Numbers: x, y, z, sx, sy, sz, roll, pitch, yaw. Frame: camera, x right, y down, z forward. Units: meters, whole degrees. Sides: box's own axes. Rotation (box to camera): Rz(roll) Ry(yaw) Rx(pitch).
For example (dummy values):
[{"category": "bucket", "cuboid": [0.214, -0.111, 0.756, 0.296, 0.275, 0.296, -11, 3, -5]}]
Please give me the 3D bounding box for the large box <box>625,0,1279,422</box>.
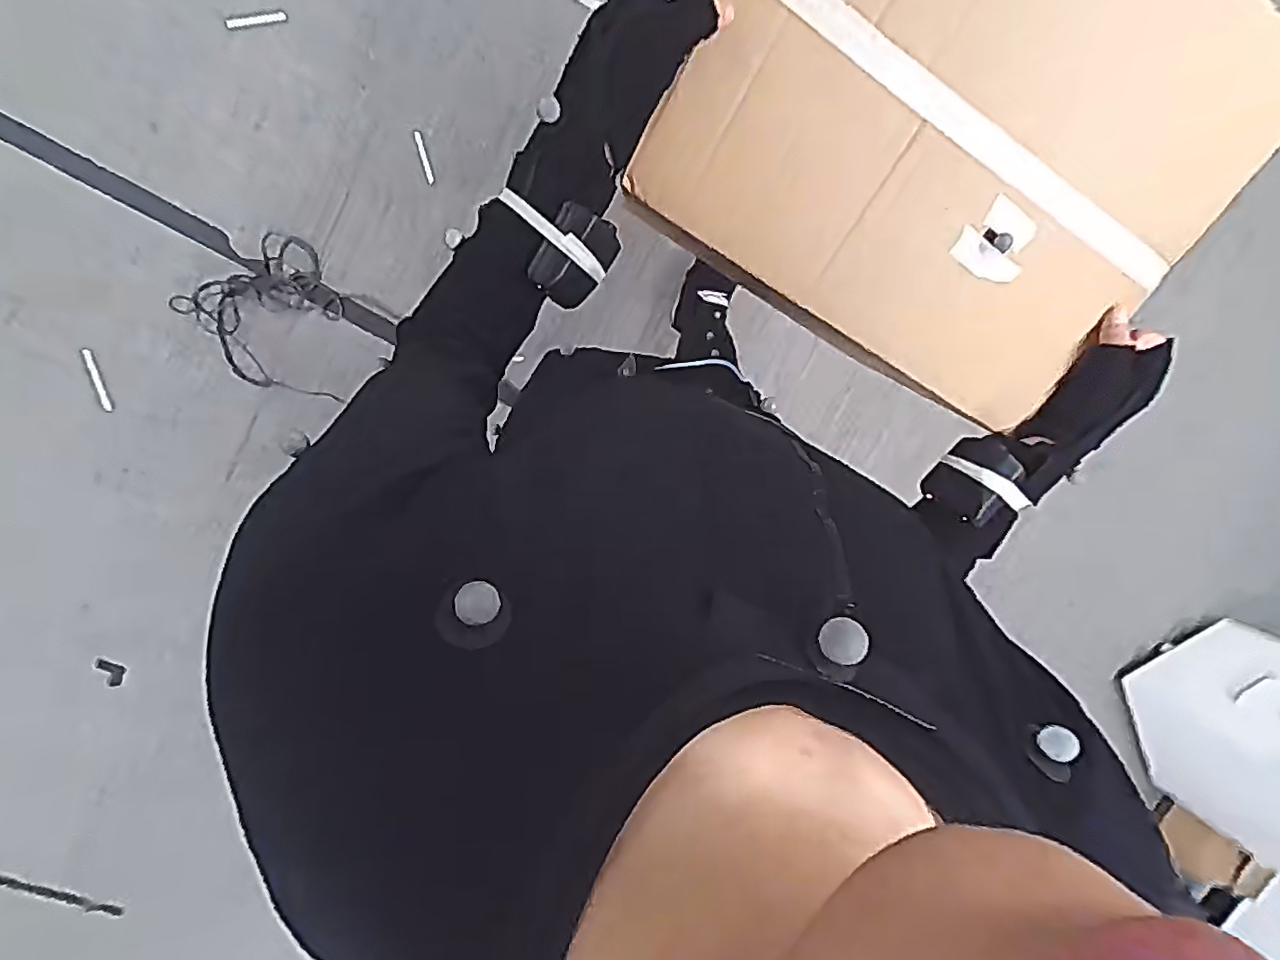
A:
[{"category": "large box", "cuboid": [0.230, -0.319, 0.538, 0.408, 0.320, 0.320, 27, 111, -14]}]
